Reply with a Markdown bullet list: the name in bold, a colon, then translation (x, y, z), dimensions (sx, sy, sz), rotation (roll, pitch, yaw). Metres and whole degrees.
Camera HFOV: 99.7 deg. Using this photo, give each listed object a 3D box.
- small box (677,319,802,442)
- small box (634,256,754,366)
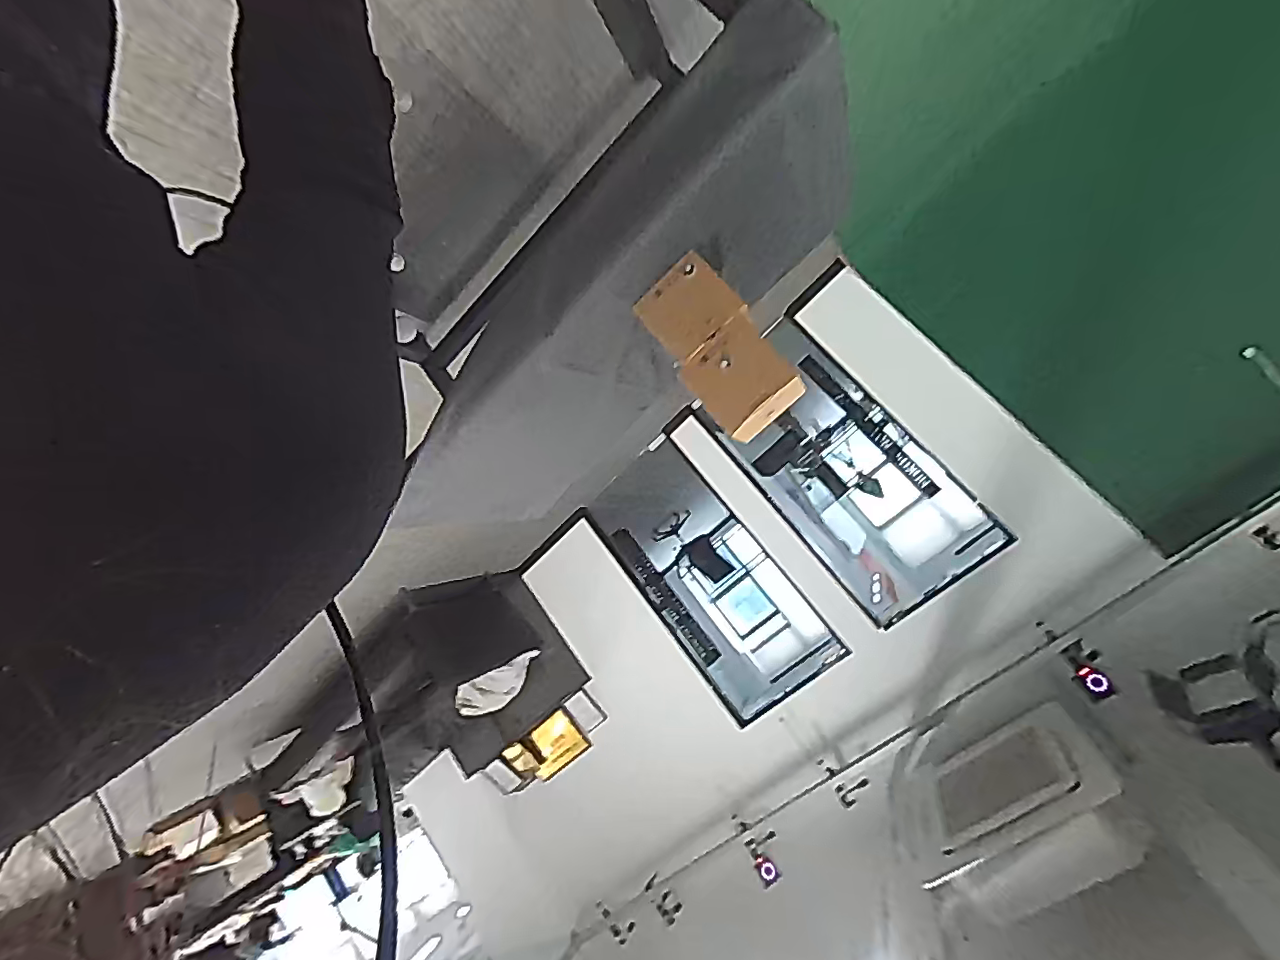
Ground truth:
- **small box**: translation (0.204, -0.198, 1.097), dimensions (0.168, 0.176, 0.179), rotation (-43, 164, 15)
- **small box**: translation (0.113, -0.333, 1.128), dimensions (0.168, 0.176, 0.179), rotation (-42, 165, 13)
